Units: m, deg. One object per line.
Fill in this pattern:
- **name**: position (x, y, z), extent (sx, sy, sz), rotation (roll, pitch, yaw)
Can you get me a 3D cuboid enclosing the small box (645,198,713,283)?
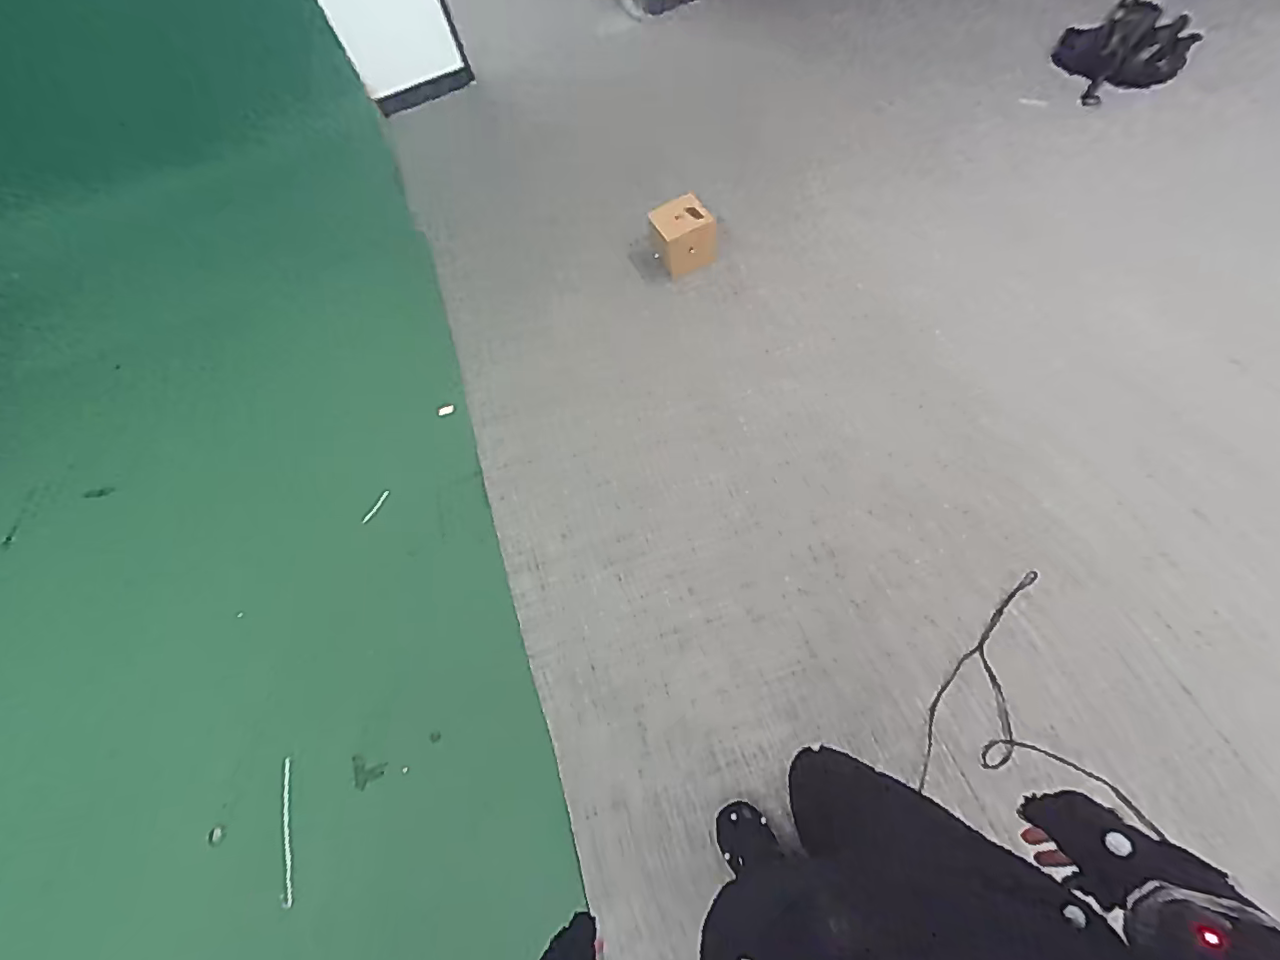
- **small box**: position (0.135, -0.817, 1.850), extent (0.179, 0.176, 0.168), rotation (-29, 63, -6)
